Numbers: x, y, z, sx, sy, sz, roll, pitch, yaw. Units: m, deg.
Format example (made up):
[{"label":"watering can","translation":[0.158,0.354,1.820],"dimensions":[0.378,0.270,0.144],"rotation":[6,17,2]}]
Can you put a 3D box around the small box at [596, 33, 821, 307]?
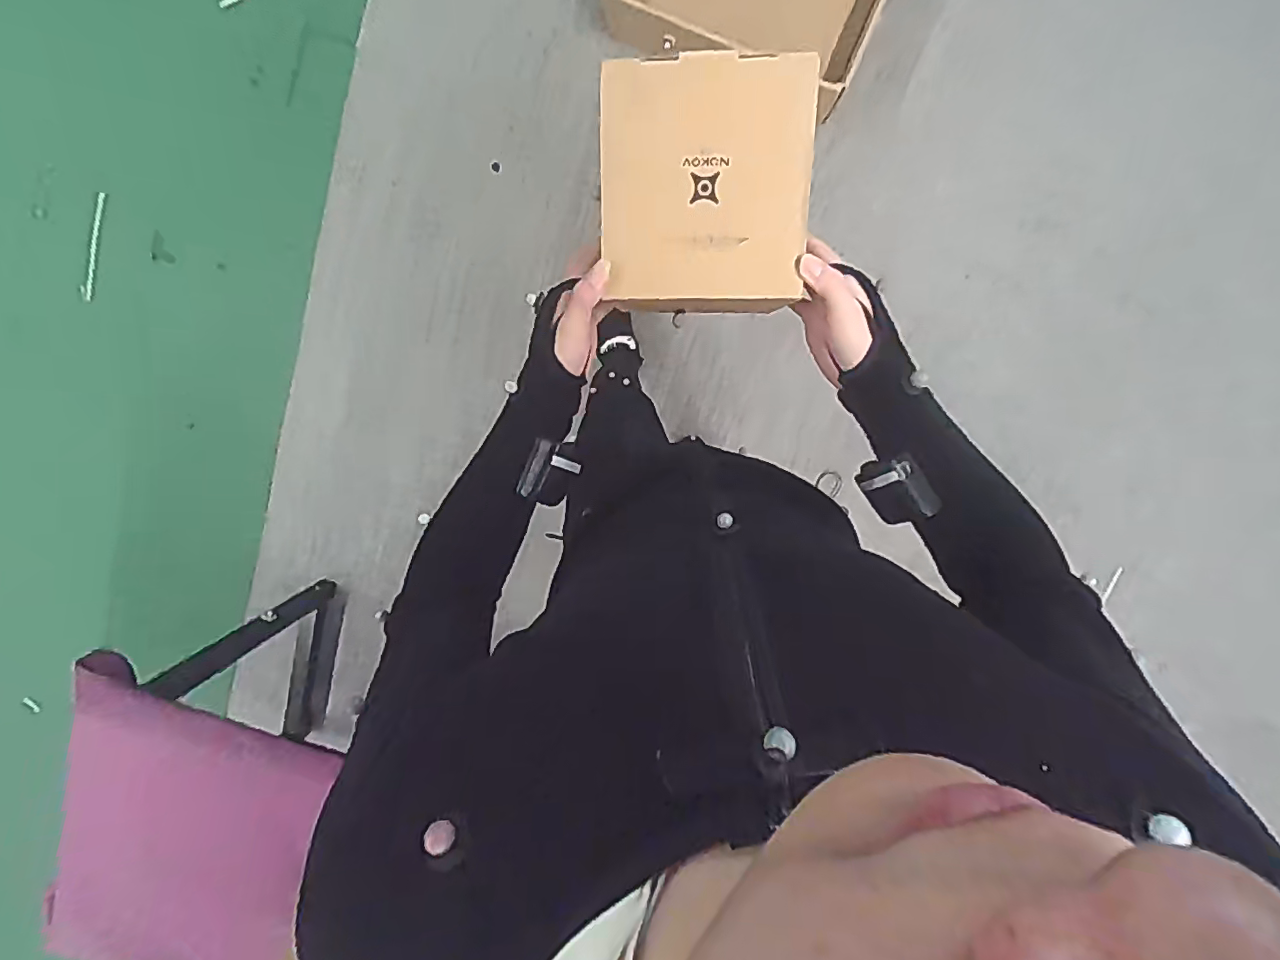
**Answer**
[{"label":"small box","translation":[0.054,-0.258,0.491],"dimensions":[0.168,0.176,0.179],"rotation":[2,103,4]}]
